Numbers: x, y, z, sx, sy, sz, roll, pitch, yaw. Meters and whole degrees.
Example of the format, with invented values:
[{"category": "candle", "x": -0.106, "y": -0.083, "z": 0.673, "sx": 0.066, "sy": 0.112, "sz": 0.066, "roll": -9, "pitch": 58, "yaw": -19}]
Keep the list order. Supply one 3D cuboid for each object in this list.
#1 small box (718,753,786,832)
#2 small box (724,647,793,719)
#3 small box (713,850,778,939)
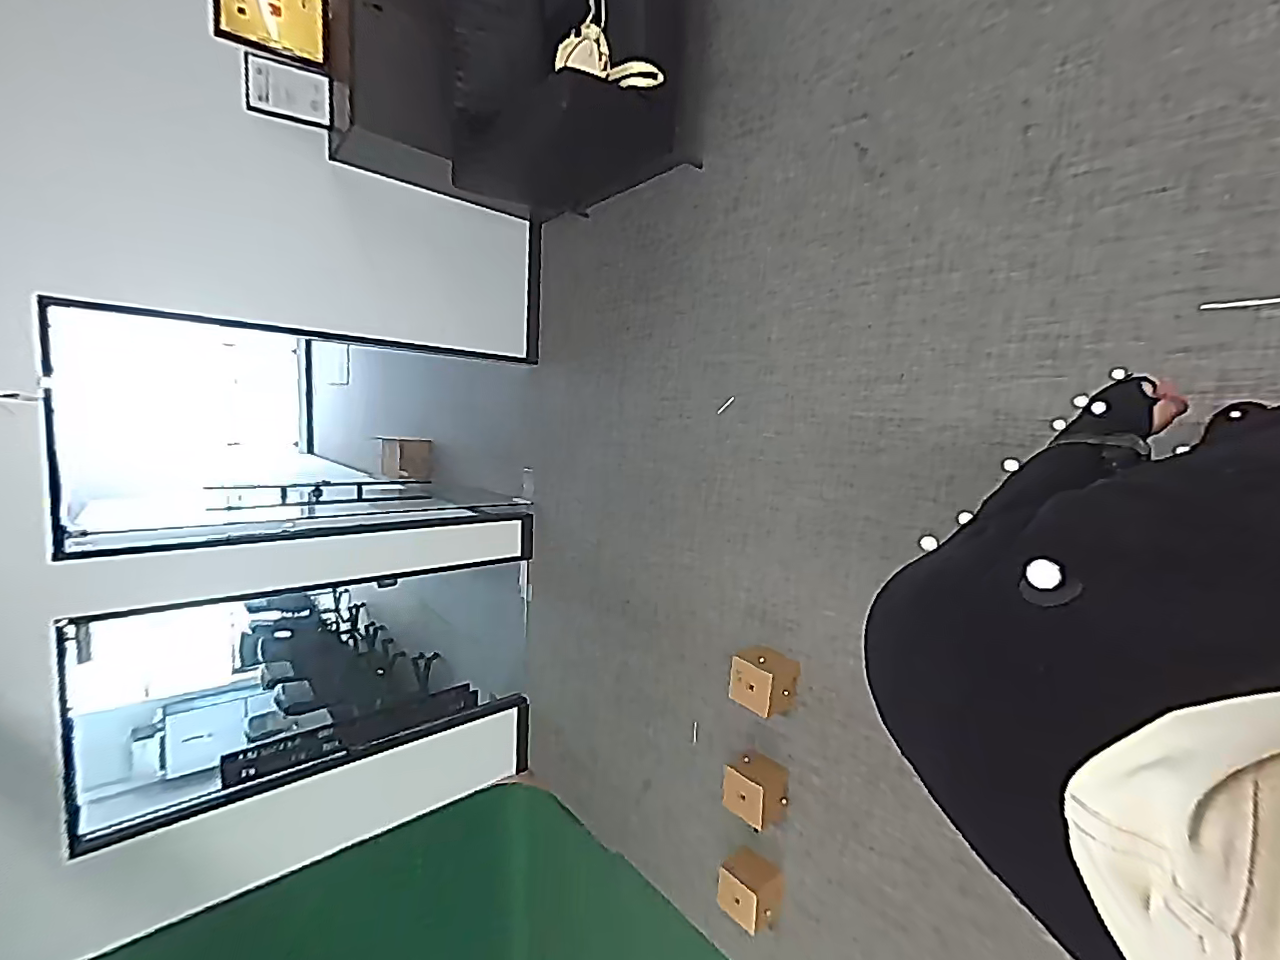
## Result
[{"category": "small box", "x": 0.411, "y": 1.139, "z": 1.989, "sx": 0.179, "sy": 0.176, "sz": 0.168, "roll": 8, "pitch": 98, "yaw": 48}, {"category": "small box", "x": 0.430, "y": 0.722, "z": 1.948, "sx": 0.179, "sy": 0.176, "sz": 0.168, "roll": 15, "pitch": 102, "yaw": 47}, {"category": "small box", "x": 0.396, "y": 1.537, "z": 2.022, "sx": 0.179, "sy": 0.176, "sz": 0.168, "roll": 8, "pitch": 98, "yaw": 49}]
